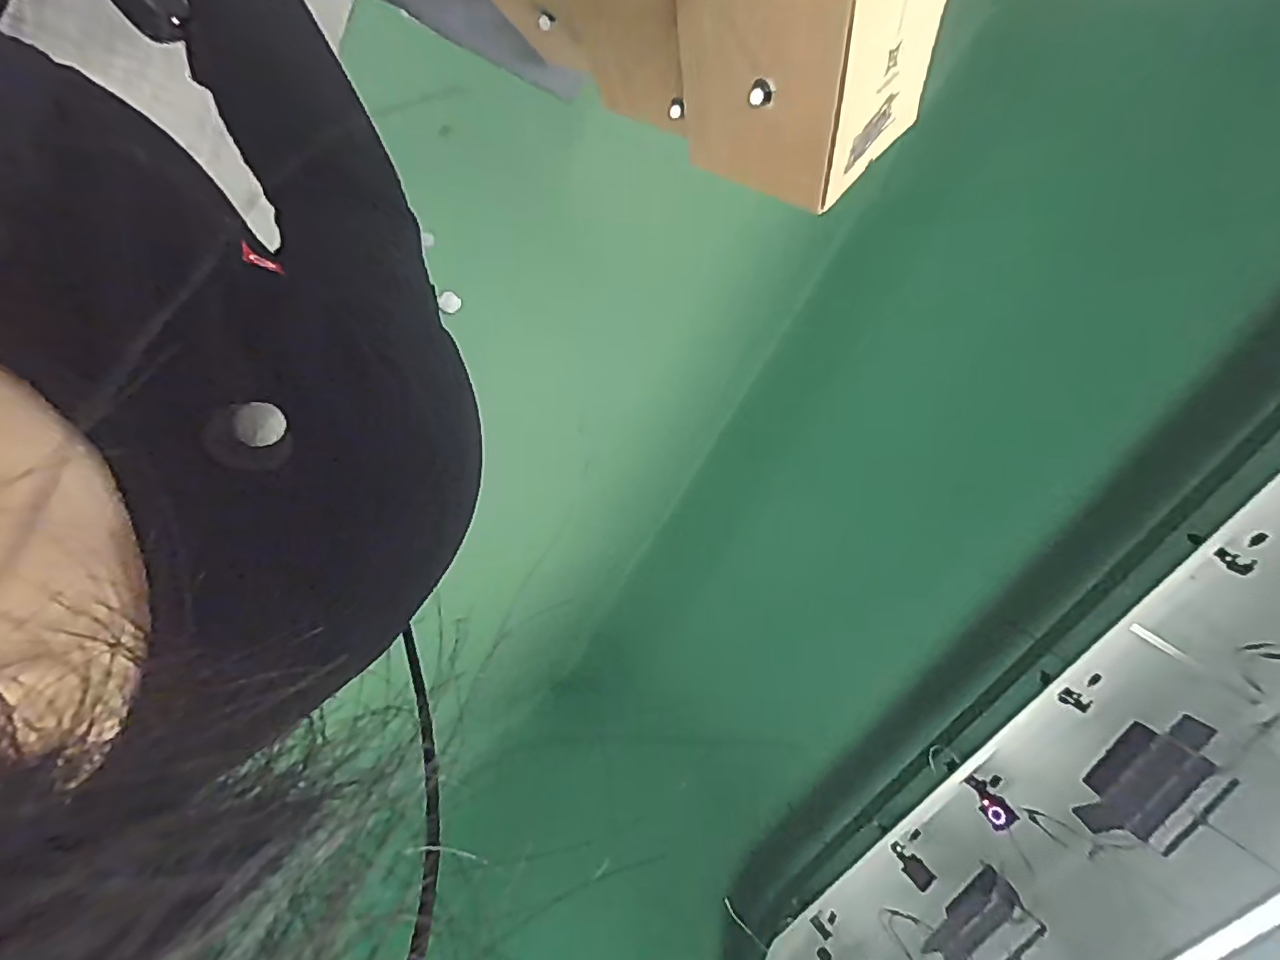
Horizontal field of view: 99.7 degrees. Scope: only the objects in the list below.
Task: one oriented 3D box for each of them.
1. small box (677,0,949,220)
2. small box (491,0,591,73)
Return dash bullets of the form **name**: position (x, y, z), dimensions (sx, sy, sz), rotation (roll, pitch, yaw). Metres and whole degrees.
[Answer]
- **small box**: position (0.151, -0.386, 0.496), dimensions (0.168, 0.176, 0.179), rotation (-47, 155, -15)
- **small box**: position (-0.070, -0.599, 0.618), dimensions (0.168, 0.176, 0.179), rotation (-60, 154, 14)
